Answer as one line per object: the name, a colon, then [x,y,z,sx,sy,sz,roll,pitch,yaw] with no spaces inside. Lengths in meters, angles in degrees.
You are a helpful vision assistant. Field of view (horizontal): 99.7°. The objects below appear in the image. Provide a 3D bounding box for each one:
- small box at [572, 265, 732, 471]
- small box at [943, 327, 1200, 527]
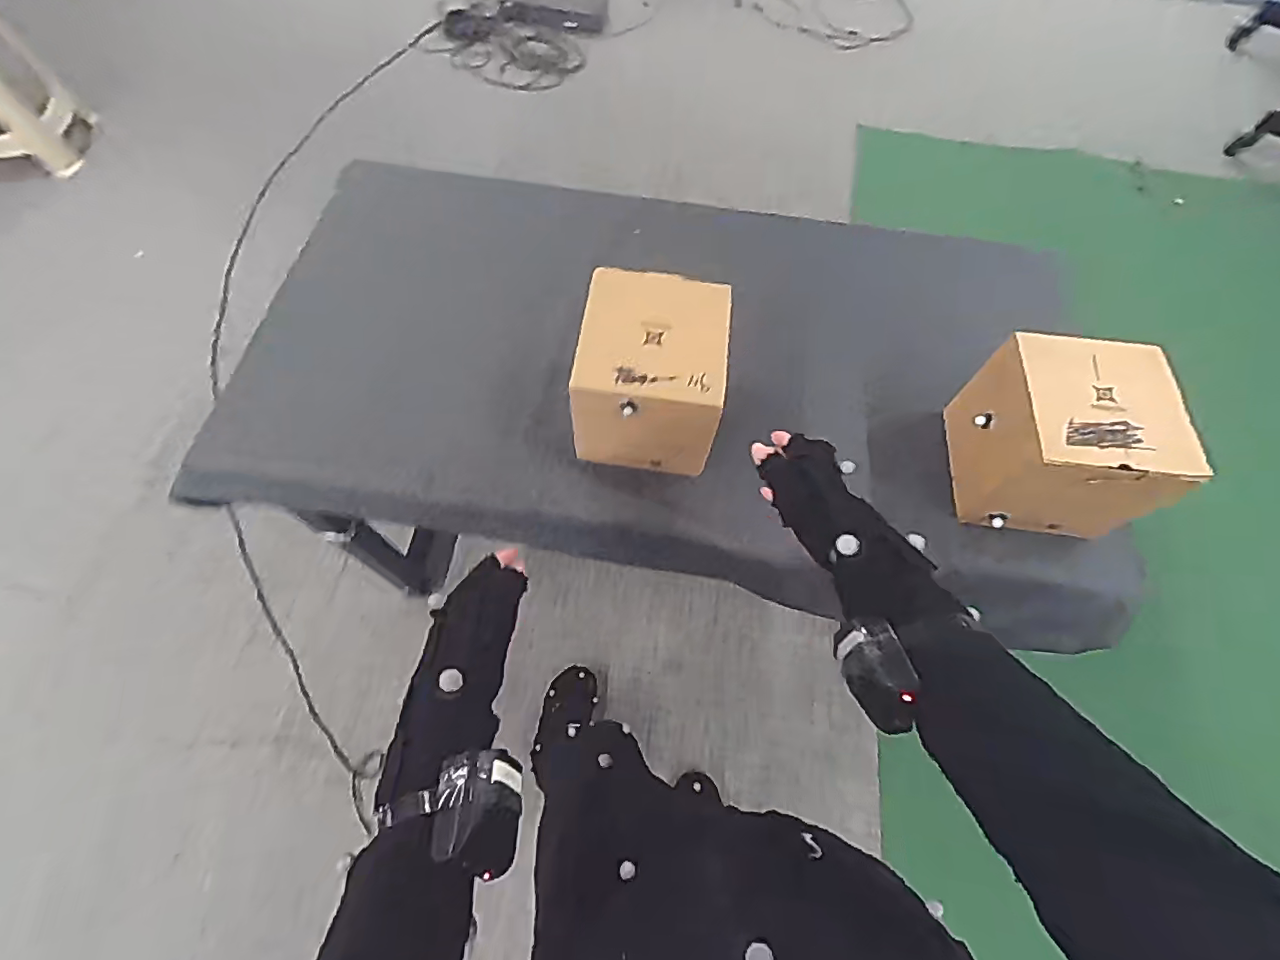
small box: [0.014,-0.134,0.678,0.168,0.176,0.179,8,64,1]
small box: [0.499,-0.056,0.660,0.168,0.176,0.179,7,64,3]
